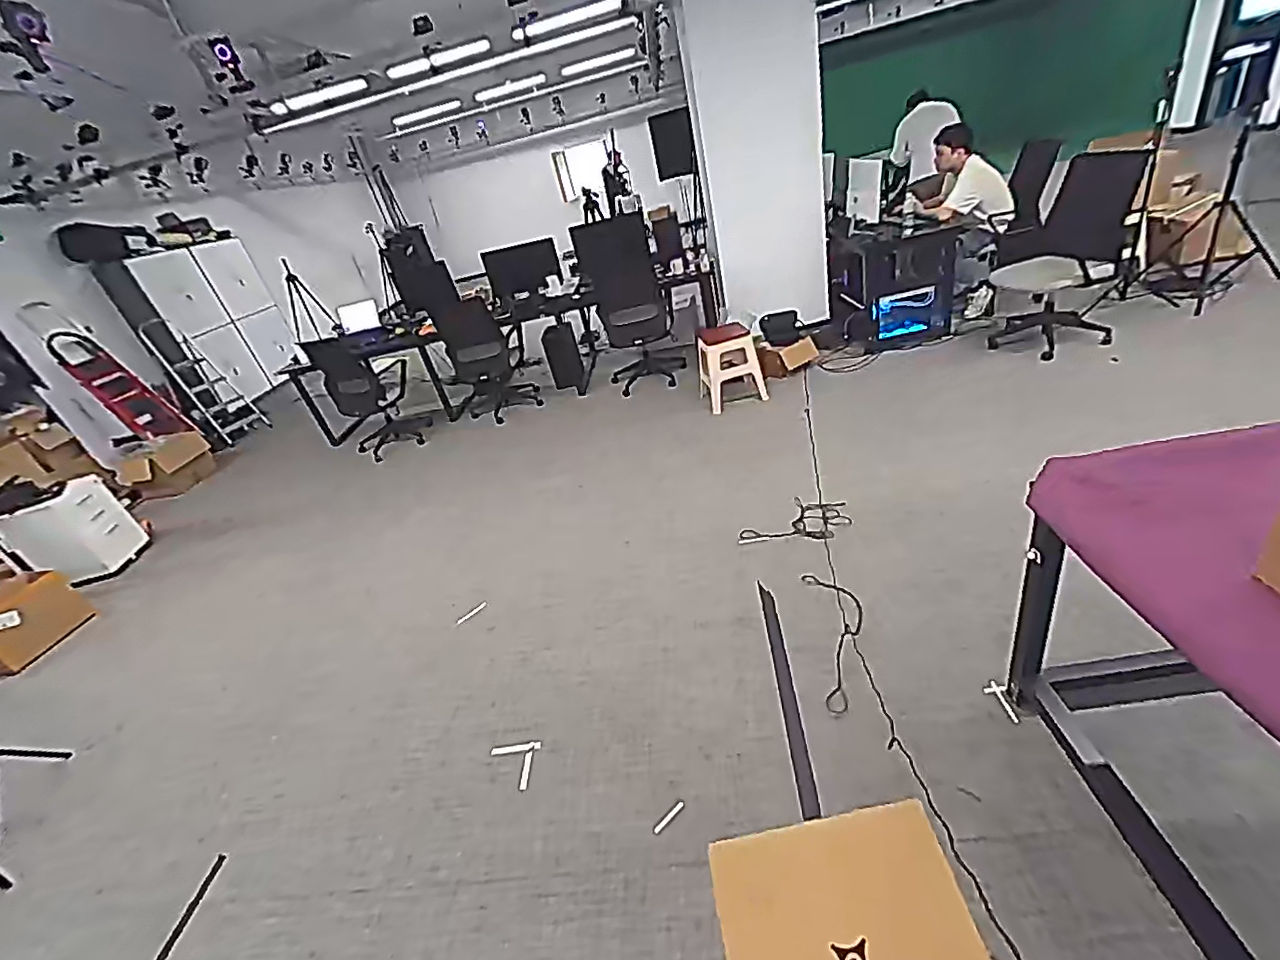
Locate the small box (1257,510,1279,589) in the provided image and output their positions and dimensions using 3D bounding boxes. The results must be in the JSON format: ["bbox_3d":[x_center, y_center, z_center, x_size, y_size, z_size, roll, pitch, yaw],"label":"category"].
[{"bbox_3d":[1.096,0.118,0.792,0.168,0.176,0.179,-10,31,9],"label":"small box"}]
